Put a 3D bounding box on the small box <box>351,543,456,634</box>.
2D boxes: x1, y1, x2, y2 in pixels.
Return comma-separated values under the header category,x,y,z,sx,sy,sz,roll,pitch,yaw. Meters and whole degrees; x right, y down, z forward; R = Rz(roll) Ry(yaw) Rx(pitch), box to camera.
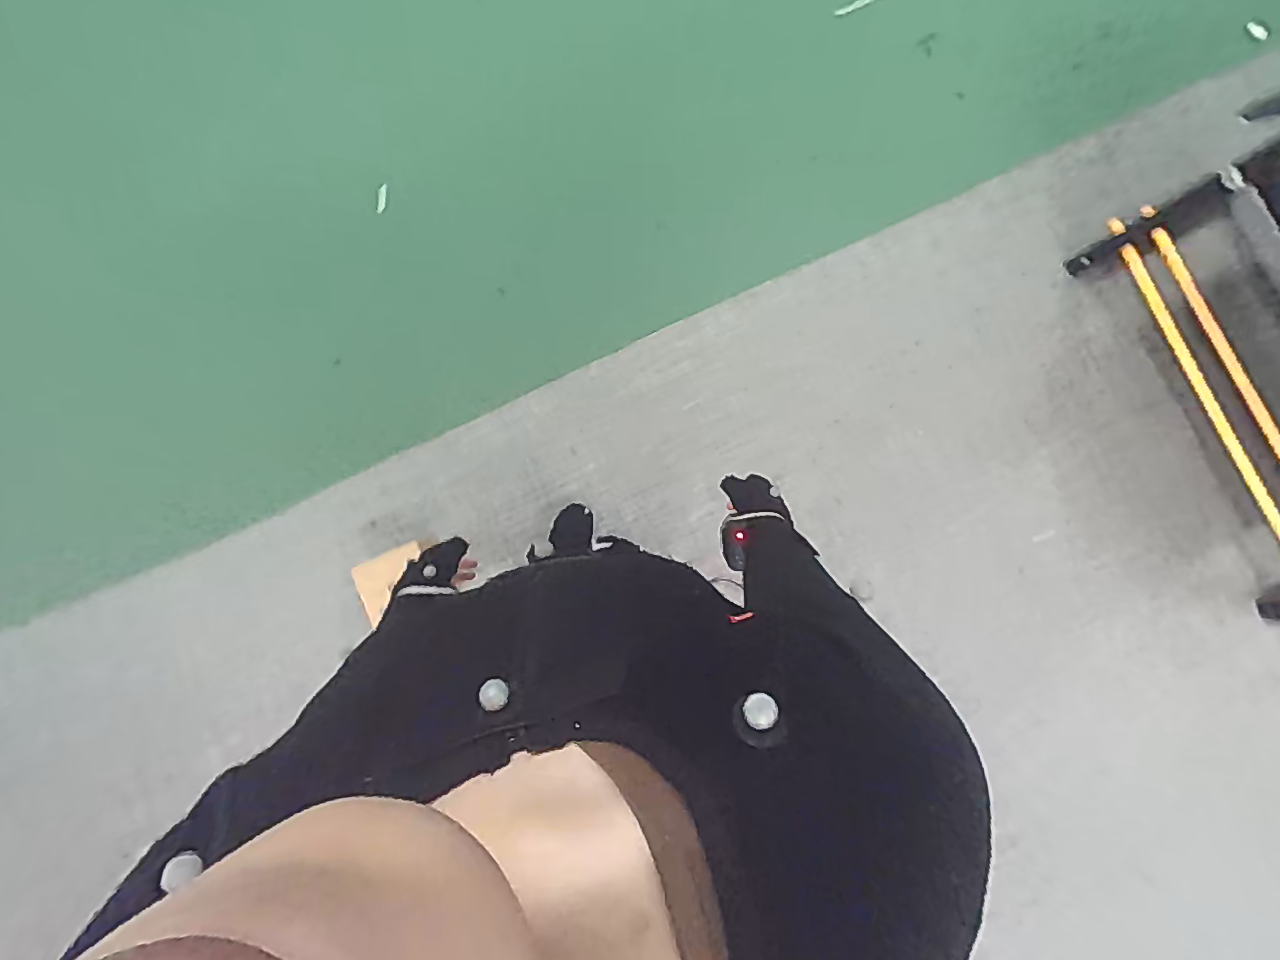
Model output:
category,x,y,z,sx,sy,sz,roll,pitch,yaw
small box,-0.591,0.267,1.382,0.179,0.176,0.168,-24,87,-3
